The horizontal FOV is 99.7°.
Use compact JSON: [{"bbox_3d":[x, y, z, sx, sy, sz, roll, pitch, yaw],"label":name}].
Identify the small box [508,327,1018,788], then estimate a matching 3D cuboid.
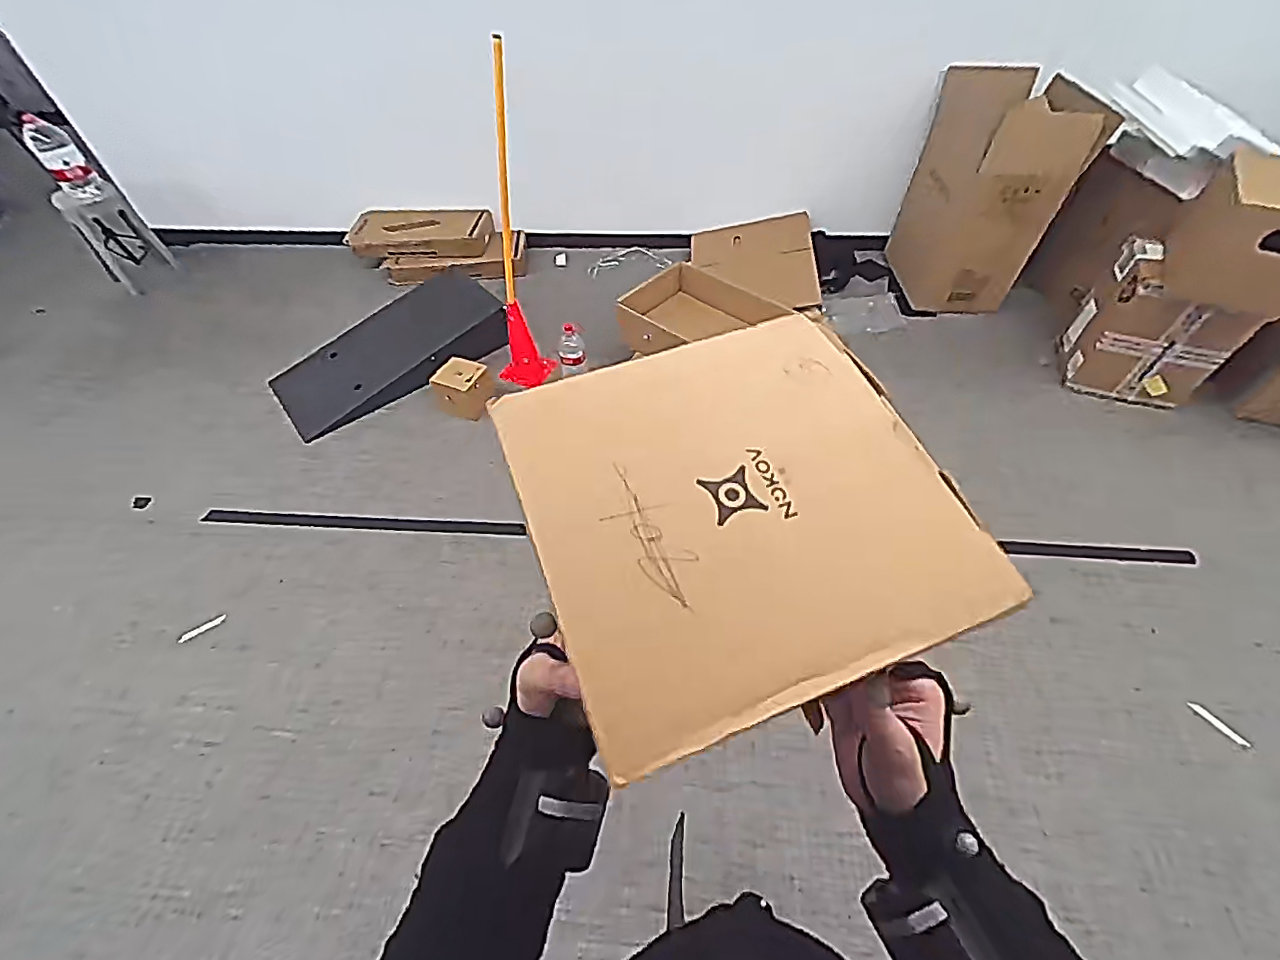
[{"bbox_3d":[0.044,0.050,0.307,0.179,0.176,0.168,-20,63,-12],"label":"small box"}]
